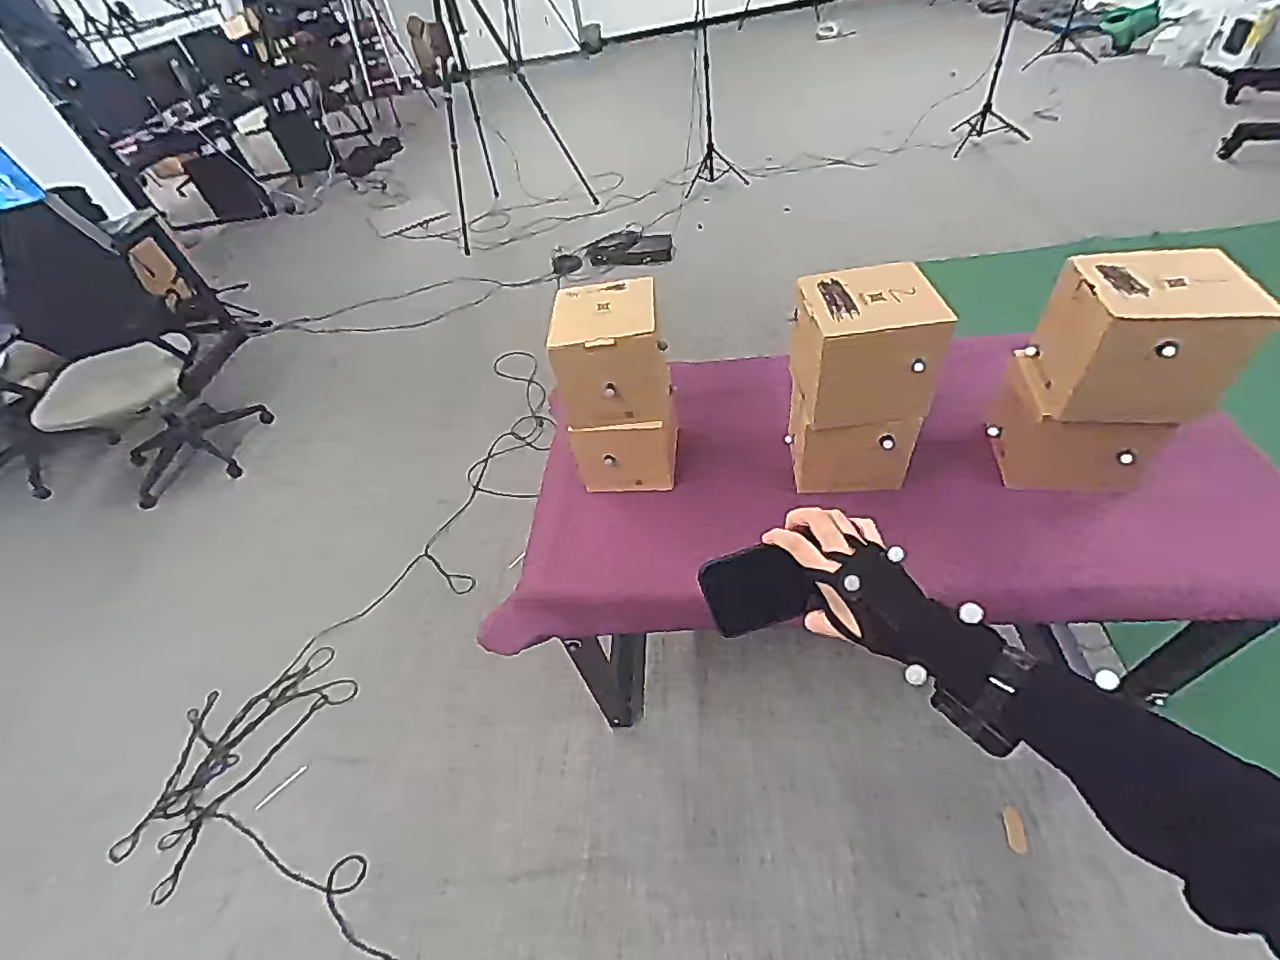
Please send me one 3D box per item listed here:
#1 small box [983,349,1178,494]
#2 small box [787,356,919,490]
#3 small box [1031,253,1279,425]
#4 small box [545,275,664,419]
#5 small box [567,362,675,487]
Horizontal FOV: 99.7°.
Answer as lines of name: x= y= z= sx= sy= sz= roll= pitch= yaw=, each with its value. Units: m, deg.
small box: x=0.690 y=-0.093 z=0.874 sx=0.179 sy=0.176 sz=0.168 roll=3 pitch=49 yaw=14
small box: x=0.357 y=-0.095 z=0.941 sx=0.179 sy=0.176 sz=0.168 roll=-2 pitch=48 yaw=10
small box: x=0.674 y=-0.190 z=0.742 sx=0.179 sy=0.176 sz=0.168 roll=3 pitch=49 yaw=13
small box: x=-0.049 y=-0.215 z=0.908 sx=0.168 sy=0.176 sz=0.179 roll=-5 pitch=49 yaw=6
small box: x=-0.025 y=-0.100 z=1.023 sx=0.168 sy=0.176 sz=0.179 roll=-1 pitch=48 yaw=10
